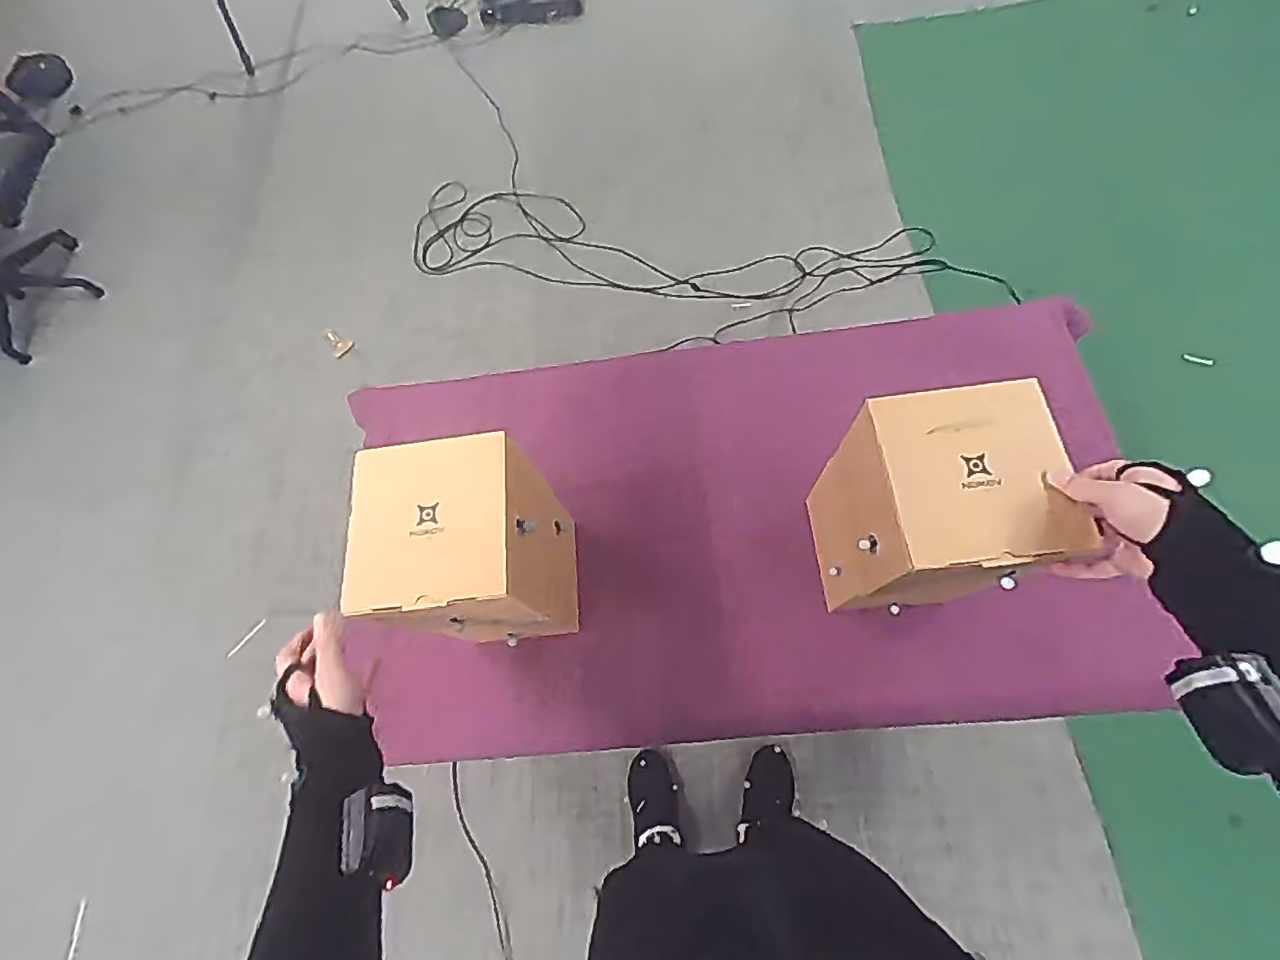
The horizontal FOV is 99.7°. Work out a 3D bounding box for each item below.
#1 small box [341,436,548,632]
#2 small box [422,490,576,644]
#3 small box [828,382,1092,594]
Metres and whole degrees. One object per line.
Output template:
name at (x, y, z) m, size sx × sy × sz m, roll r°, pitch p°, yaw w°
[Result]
small box at (-0.208, 0.070, 0.623) m, size 0.168 × 0.176 × 0.179 m, roll -8°, pitch 69°, yaw 3°
small box at (-0.190, 0.131, 0.772) m, size 0.168 × 0.176 × 0.179 m, roll -7°, pitch 68°, yaw 5°
small box at (0.313, 0.021, 0.576) m, size 0.168 × 0.176 × 0.179 m, roll -7°, pitch 67°, yaw 4°
